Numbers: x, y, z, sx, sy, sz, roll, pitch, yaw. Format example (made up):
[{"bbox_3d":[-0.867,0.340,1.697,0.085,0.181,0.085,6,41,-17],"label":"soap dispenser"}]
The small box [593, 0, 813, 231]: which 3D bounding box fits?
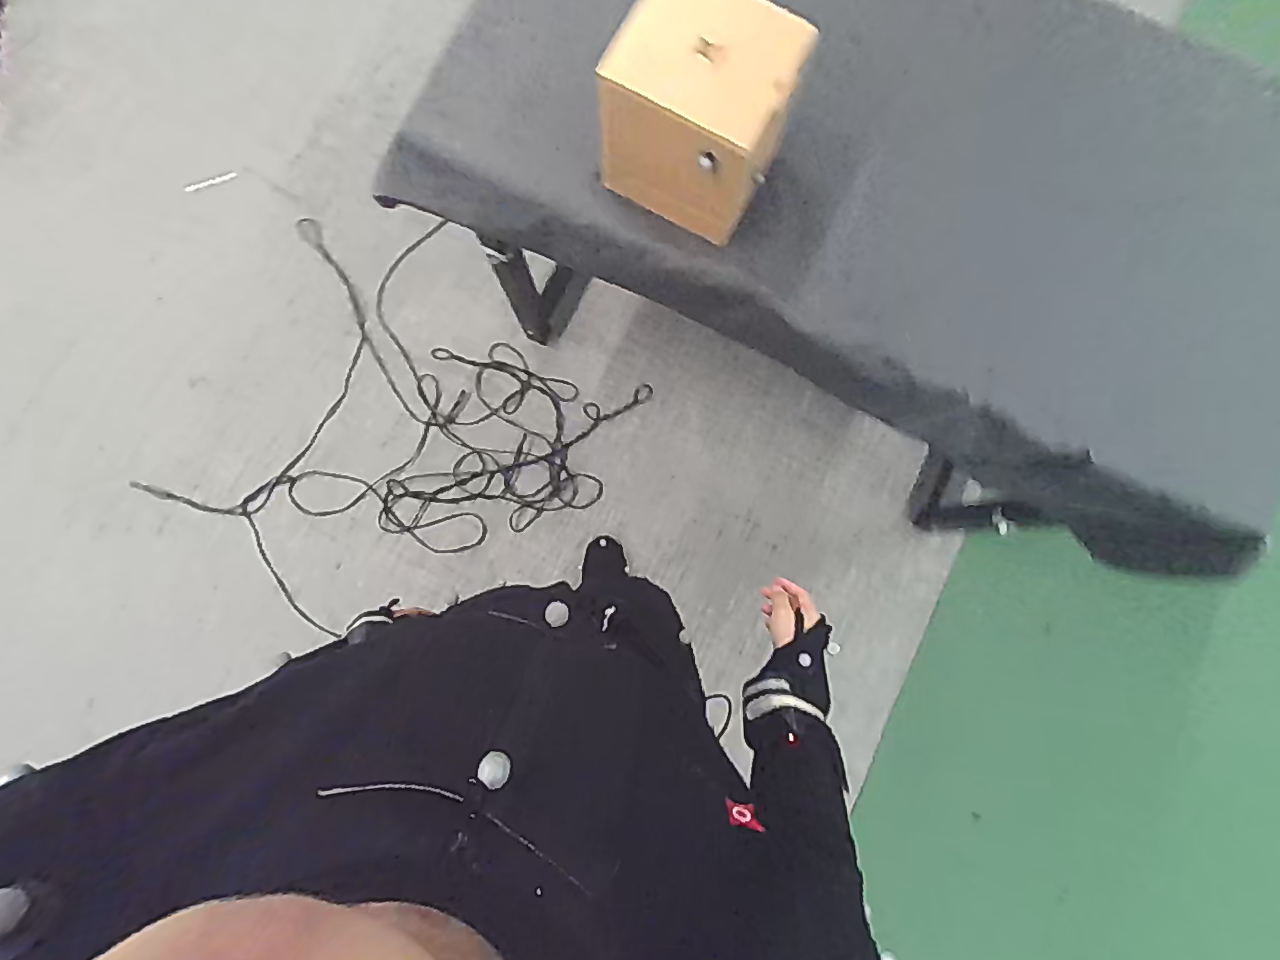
[{"bbox_3d":[0.062,-0.428,0.626,0.179,0.176,0.168,27,82,2],"label":"small box"}]
